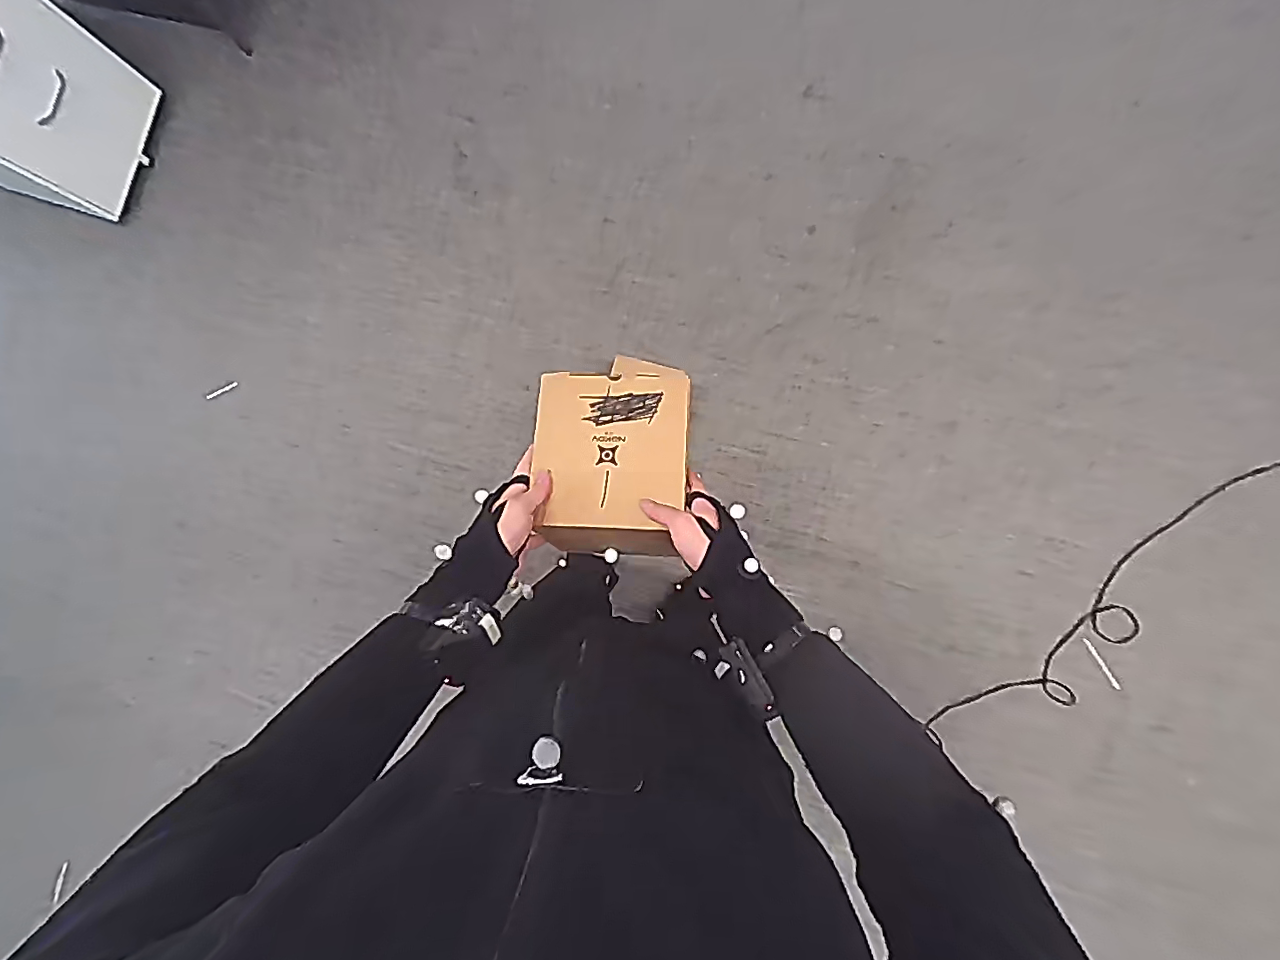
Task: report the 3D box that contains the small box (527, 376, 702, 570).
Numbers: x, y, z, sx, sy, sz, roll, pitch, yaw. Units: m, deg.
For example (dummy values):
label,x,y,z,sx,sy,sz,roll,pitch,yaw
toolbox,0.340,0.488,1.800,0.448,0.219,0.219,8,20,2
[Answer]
label,x,y,z,sx,sy,sz,roll,pitch,yaw
small box,-0.018,-0.001,0.639,0.168,0.176,0.179,4,71,7

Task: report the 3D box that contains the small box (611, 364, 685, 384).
label,x,y,z,sx,sy,sz,roll,pitch,yaw
small box,0.008,-0.177,1.366,0.179,0.176,0.168,14,88,5
